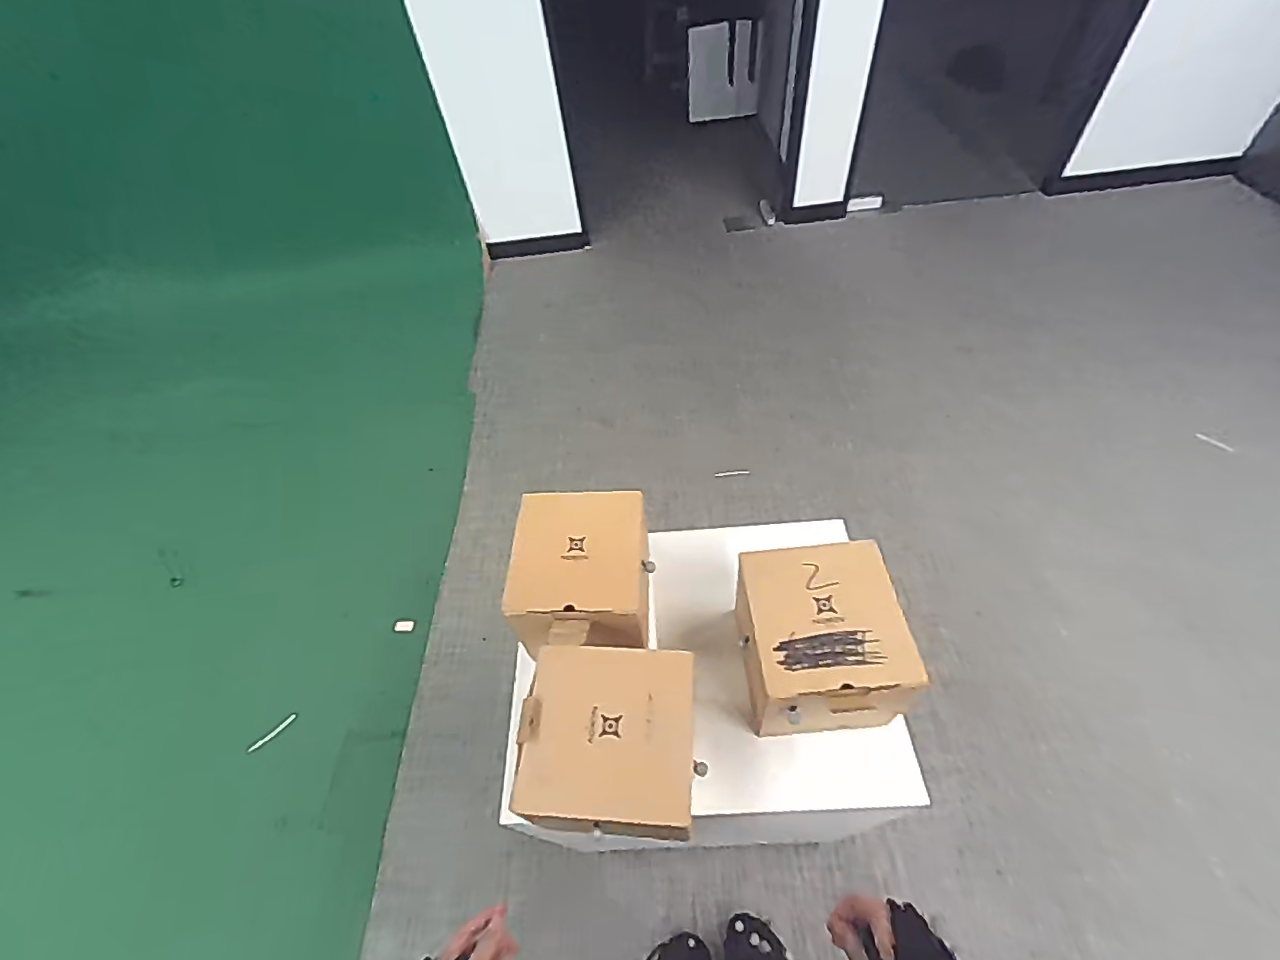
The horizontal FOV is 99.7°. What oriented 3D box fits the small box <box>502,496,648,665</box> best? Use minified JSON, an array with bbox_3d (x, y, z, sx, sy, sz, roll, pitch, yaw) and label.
[{"bbox_3d":[-0.076,0.139,0.745,0.168,0.176,0.179,-1,54,4],"label":"small box"}]
